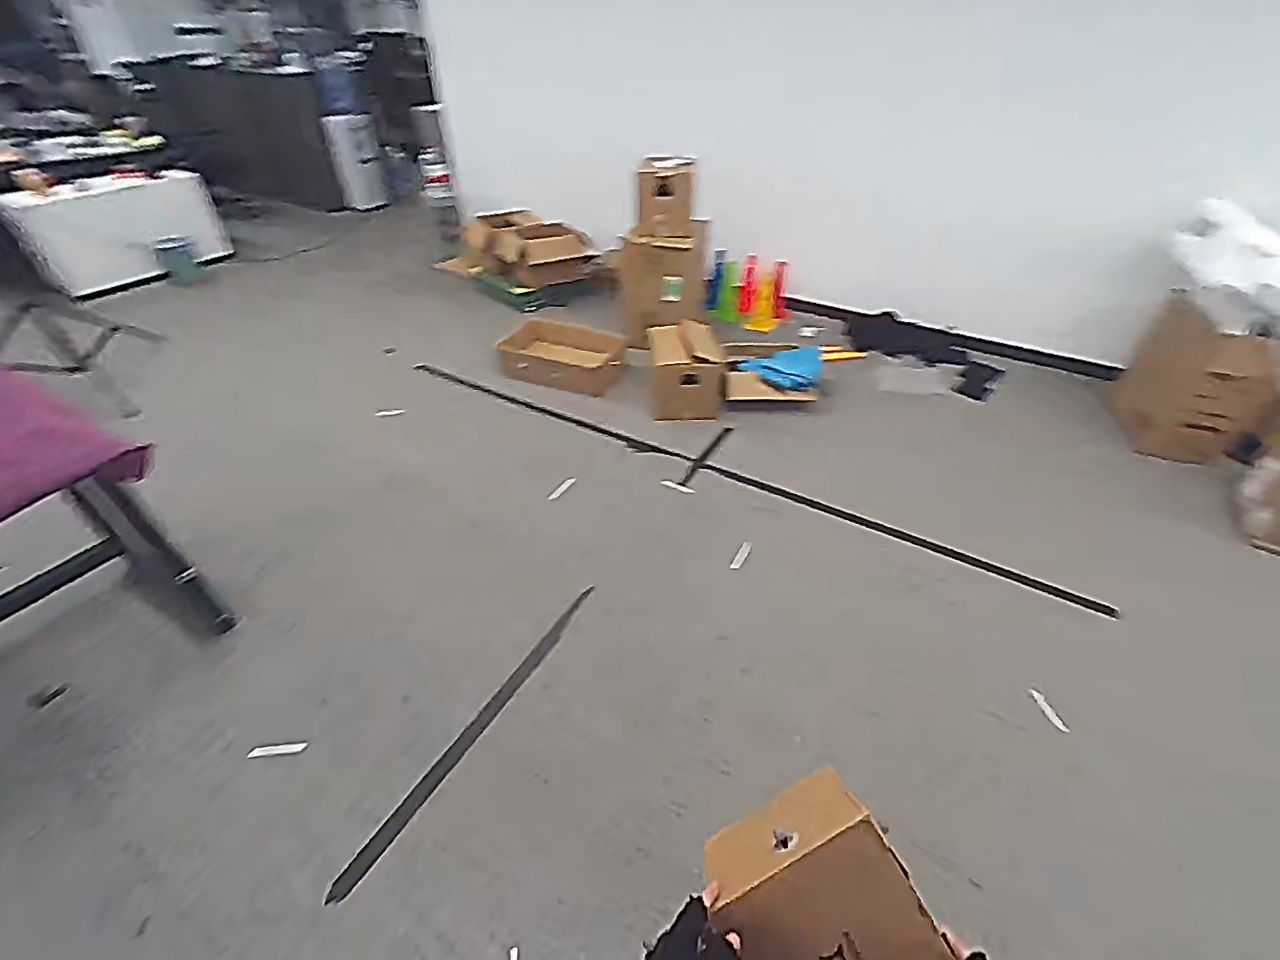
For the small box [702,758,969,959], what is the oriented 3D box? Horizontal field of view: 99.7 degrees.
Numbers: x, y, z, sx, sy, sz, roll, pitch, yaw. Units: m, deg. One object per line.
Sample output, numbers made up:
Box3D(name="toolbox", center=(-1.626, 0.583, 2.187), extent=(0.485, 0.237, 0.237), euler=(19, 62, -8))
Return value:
Box3D(name="small box", center=(0.174, 0.411, 0.540), extent=(0.179, 0.176, 0.168), euler=(-32, 74, -2))
